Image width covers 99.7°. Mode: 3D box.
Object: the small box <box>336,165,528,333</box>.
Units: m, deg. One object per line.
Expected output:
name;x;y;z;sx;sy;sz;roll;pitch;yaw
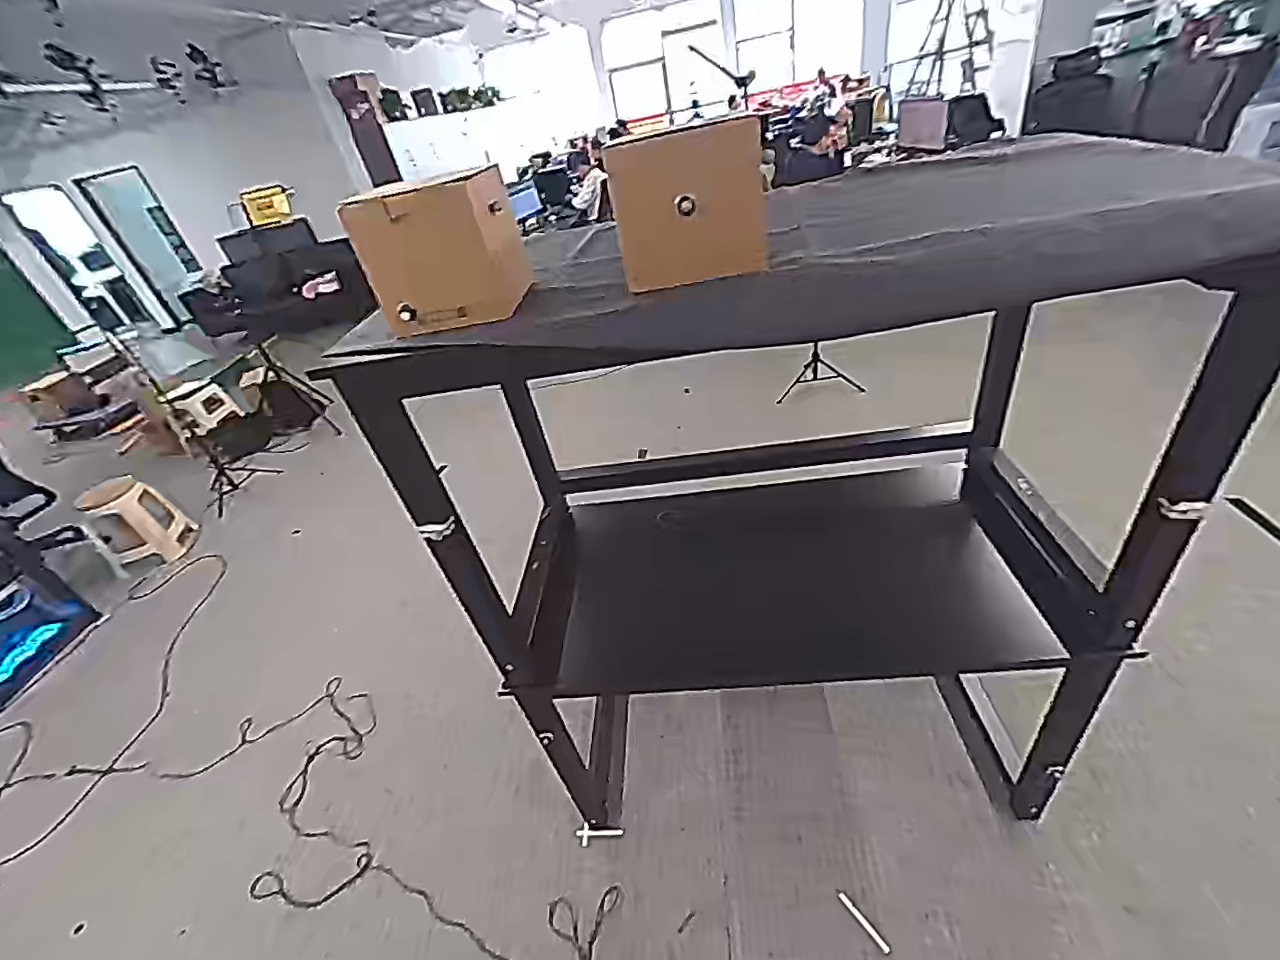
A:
small box;-0.265;-0.311;0.742;0.168;0.176;0.179;-7;35;7
